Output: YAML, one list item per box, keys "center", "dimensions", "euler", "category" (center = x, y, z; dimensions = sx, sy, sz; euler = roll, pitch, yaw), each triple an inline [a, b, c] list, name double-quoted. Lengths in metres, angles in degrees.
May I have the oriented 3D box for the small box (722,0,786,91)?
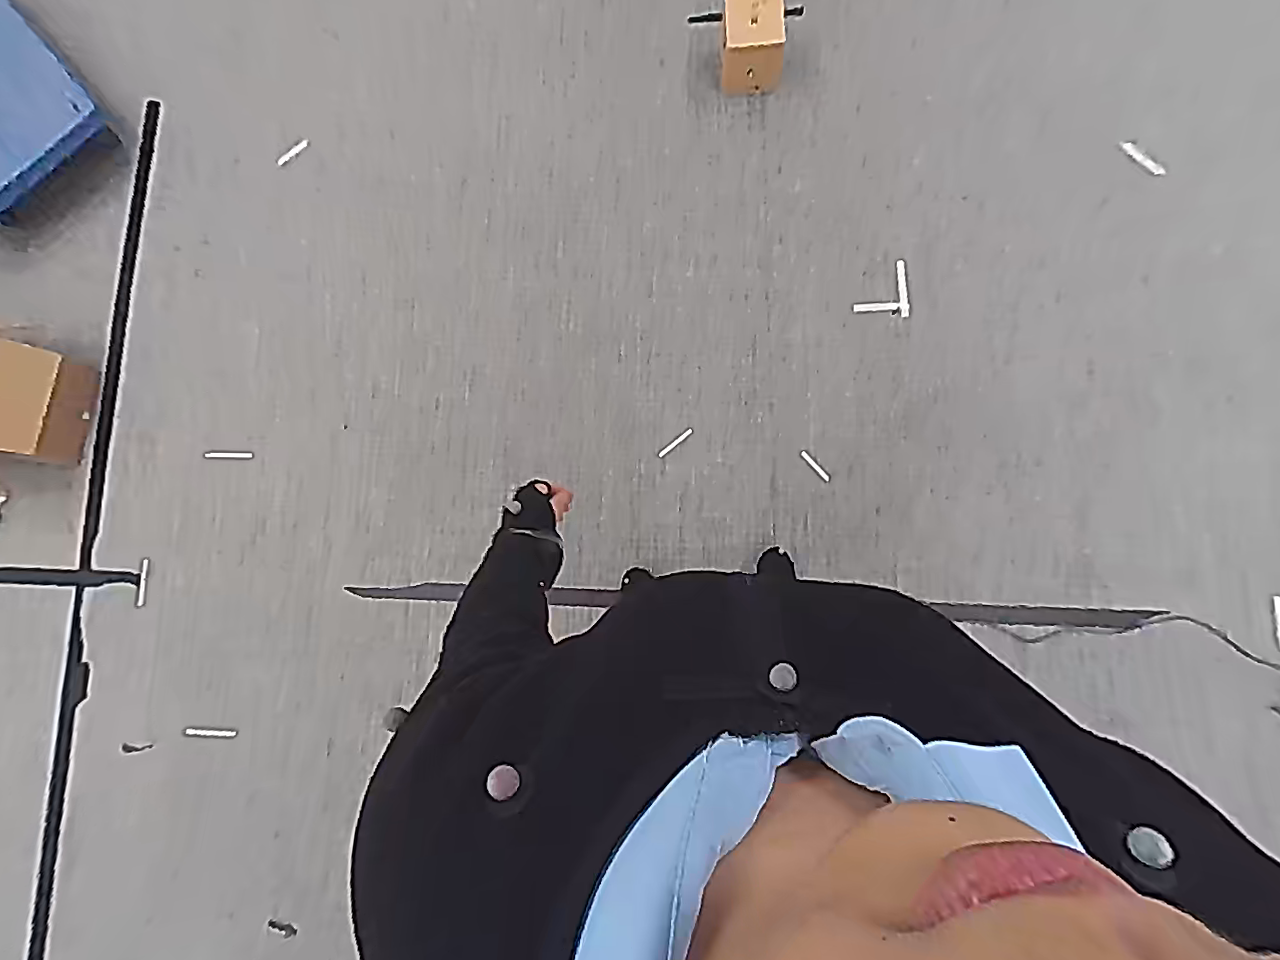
- center: [0.335, -1.298, 1.610]
  dimensions: [0.168, 0.176, 0.179]
  euler: [-2, 82, 4]
  category: "small box"
